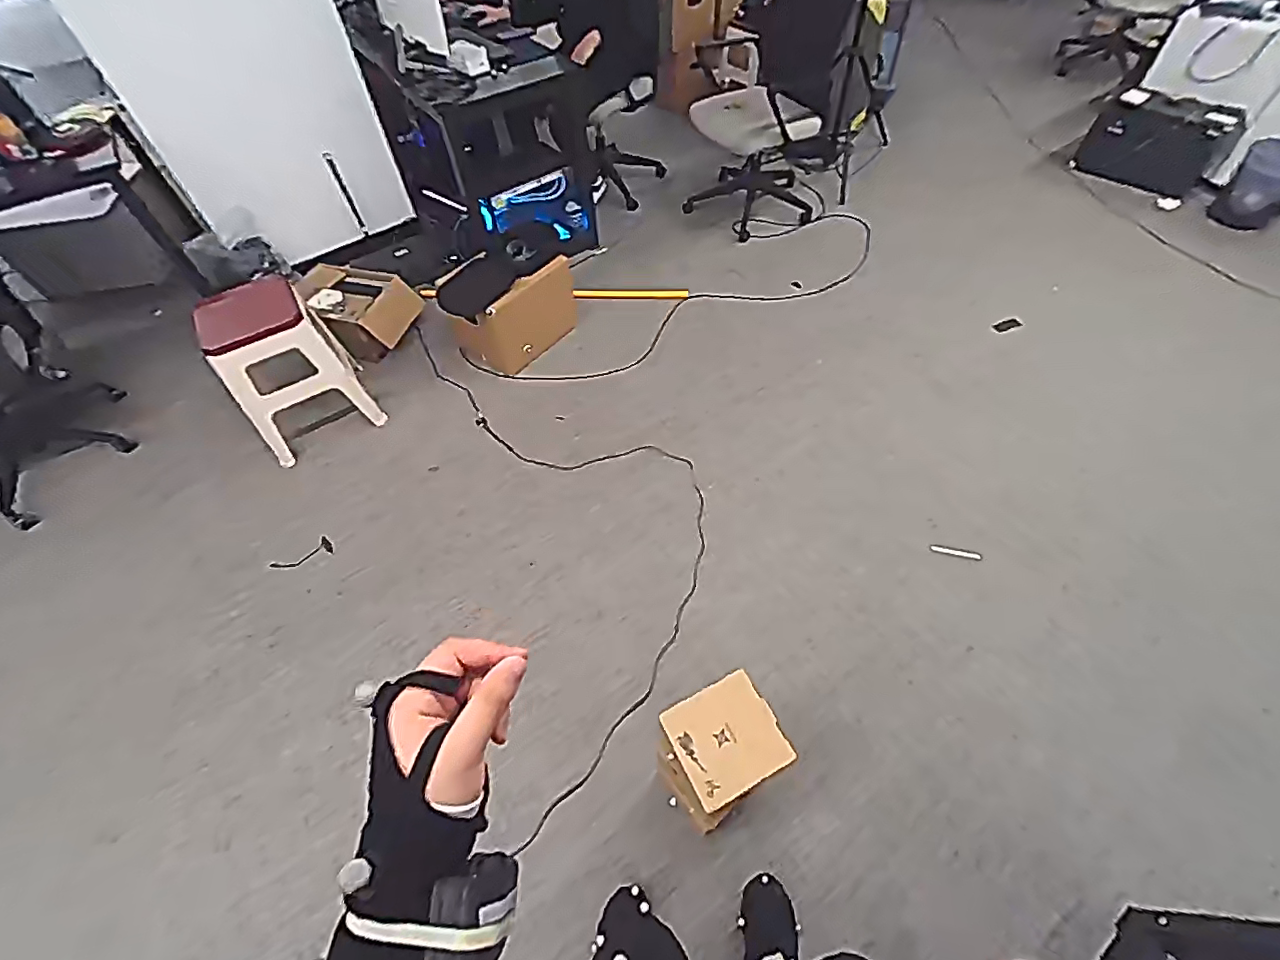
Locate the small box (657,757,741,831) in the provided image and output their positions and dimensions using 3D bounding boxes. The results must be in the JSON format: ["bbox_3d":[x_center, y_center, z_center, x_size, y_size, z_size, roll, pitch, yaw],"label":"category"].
[{"bbox_3d":[0.152,0.667,1.237,0.179,0.176,0.168,-34,60,-19],"label":"small box"}]

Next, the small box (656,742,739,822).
[{"bbox_3d":[0.149,0.568,1.109,0.179,0.176,0.168,-36,62,-23],"label":"small box"}]

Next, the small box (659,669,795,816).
[{"bbox_3d":[0.145,0.474,0.974,0.179,0.176,0.168,-24,57,-15],"label":"small box"}]
